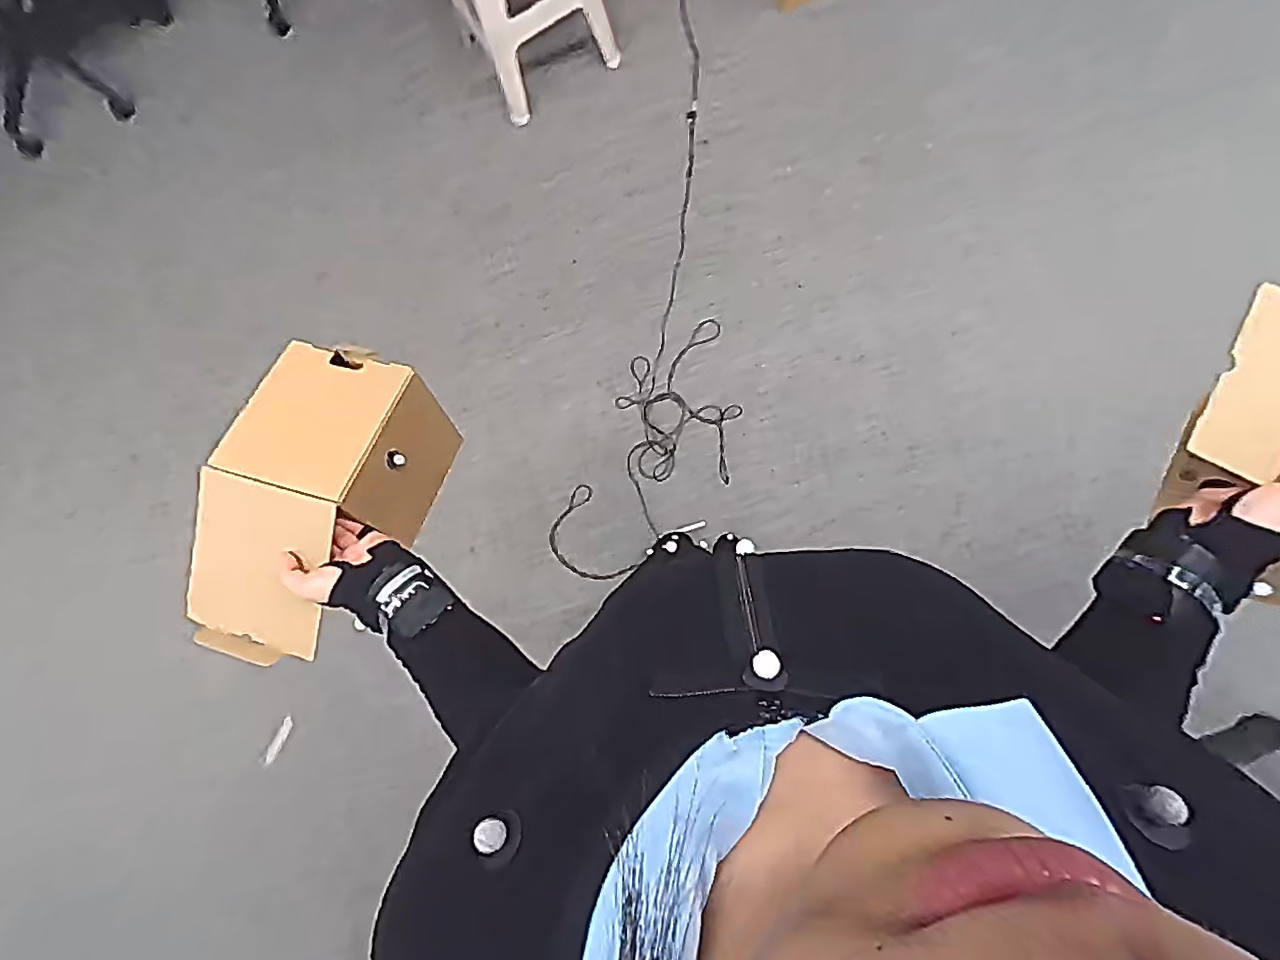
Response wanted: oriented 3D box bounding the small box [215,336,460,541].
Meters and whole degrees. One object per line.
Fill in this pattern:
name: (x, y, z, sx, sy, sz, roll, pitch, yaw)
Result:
small box: (-0.349, -0.042, 0.669, 0.168, 0.176, 0.179, 15, 66, 9)
